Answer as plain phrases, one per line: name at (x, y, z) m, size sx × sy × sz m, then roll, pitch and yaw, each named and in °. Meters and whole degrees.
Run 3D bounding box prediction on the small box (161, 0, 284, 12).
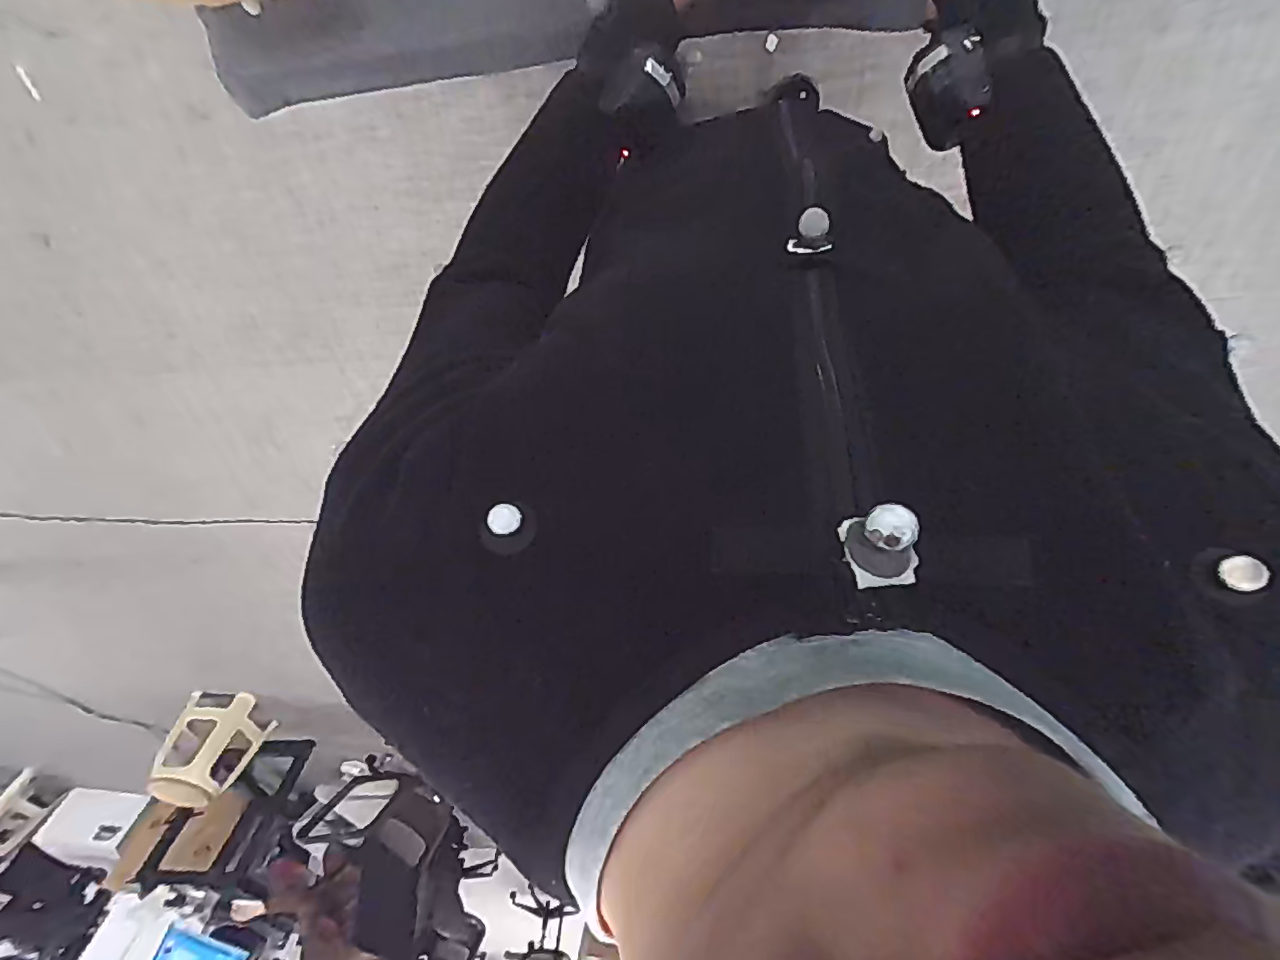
small box at (-0.383, -0.511, 0.437) m, size 0.168 × 0.176 × 0.179 m, roll -4°, pitch 127°, yaw 7°
